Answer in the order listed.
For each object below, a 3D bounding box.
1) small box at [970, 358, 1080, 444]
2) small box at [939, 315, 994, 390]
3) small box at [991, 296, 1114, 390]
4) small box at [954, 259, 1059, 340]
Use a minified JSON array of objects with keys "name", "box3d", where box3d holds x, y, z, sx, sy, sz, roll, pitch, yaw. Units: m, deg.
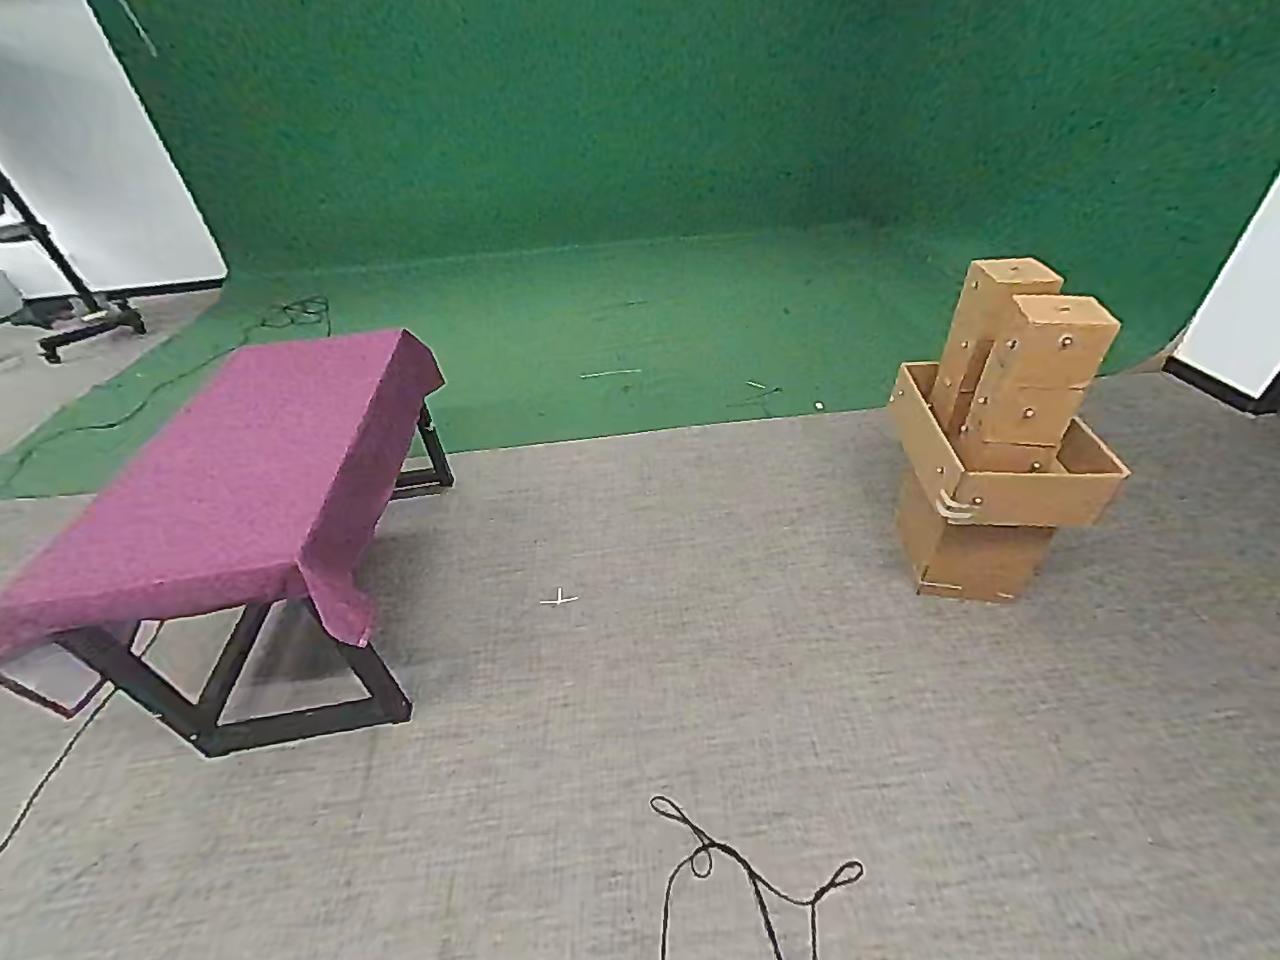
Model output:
[{"name":"small box","box3d":[0.996,-0.208,1.423,0.179,0.176,0.168,5,41,12]},{"name":"small box","box3d":[1.035,-0.386,1.638,0.168,0.176,0.179,0,41,6]},{"name":"small box","box3d":[0.987,-0.334,1.319,0.179,0.176,0.168,7,41,12]},{"name":"small box","box3d":[1.022,-0.511,1.530,0.168,0.176,0.179,-1,41,6]}]
